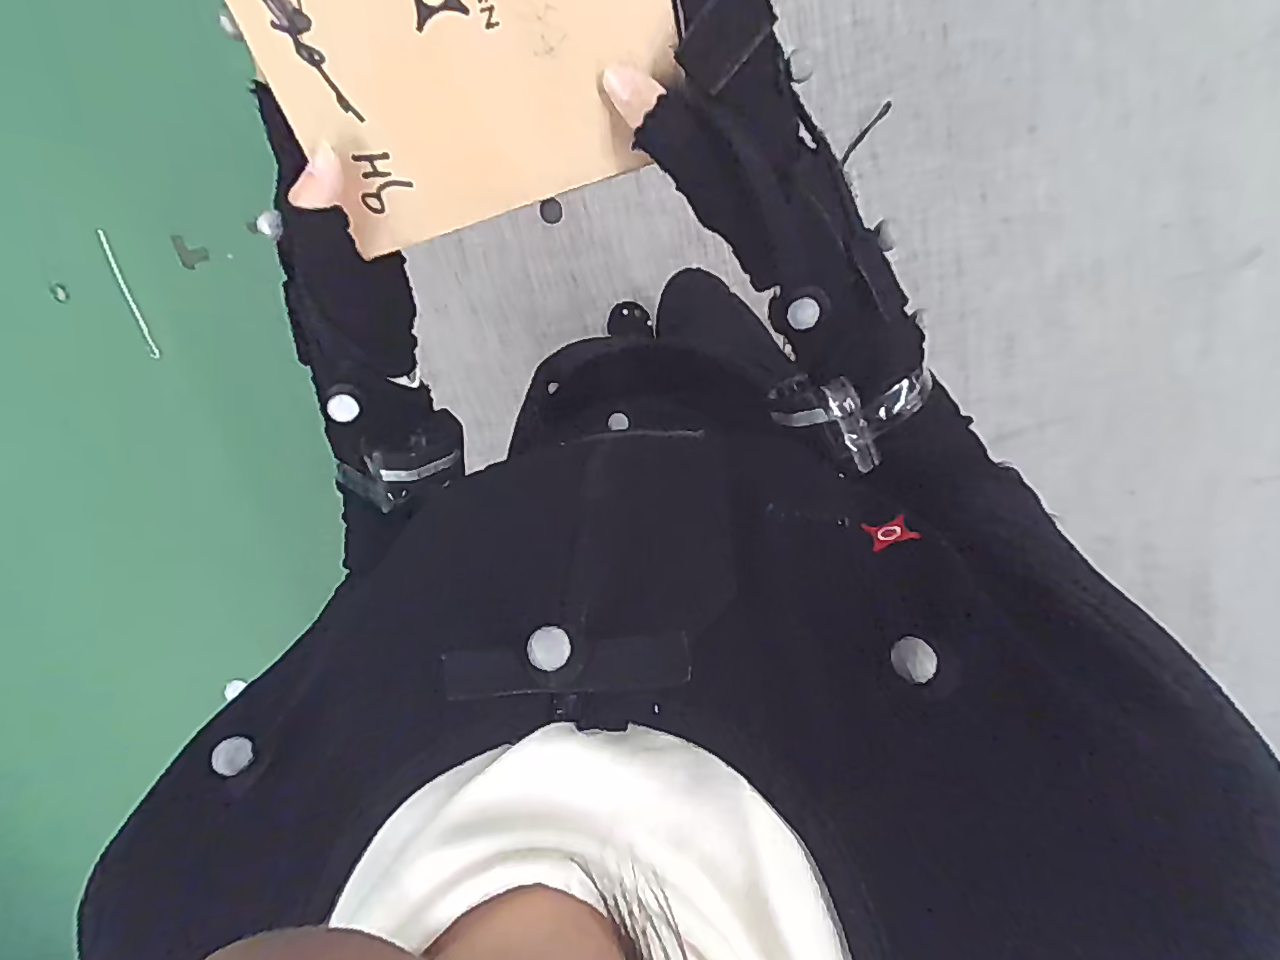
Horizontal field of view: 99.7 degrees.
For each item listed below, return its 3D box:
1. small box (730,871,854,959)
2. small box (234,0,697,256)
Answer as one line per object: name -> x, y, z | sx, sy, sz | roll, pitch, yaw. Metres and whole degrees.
small box -> 0.244, 0.763, 0.854 | 0.179, 0.176, 0.168 | -14, 109, 7
small box -> -0.084, -0.239, 0.292 | 0.179, 0.176, 0.168 | -16, 119, 3
